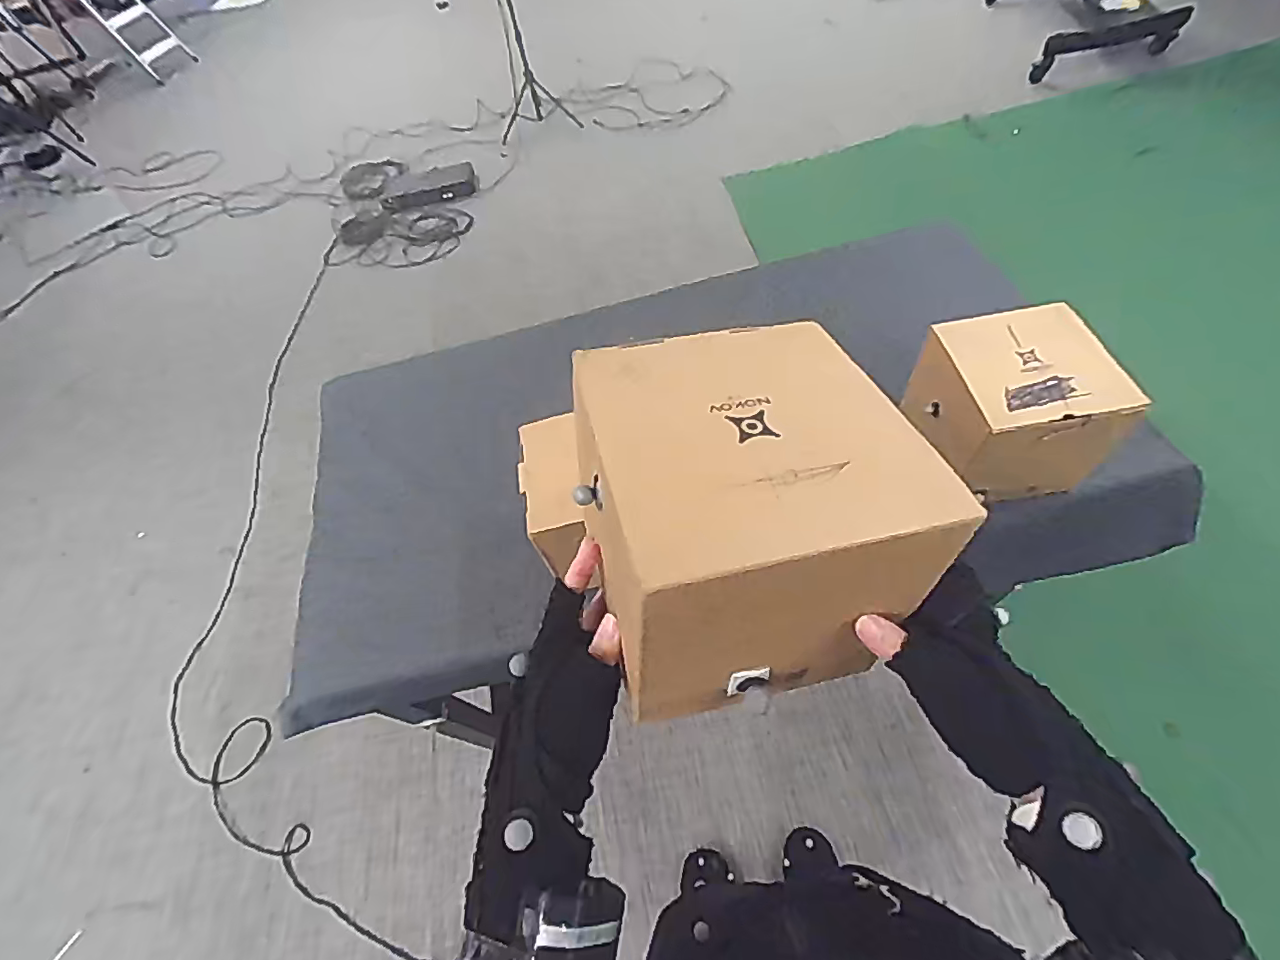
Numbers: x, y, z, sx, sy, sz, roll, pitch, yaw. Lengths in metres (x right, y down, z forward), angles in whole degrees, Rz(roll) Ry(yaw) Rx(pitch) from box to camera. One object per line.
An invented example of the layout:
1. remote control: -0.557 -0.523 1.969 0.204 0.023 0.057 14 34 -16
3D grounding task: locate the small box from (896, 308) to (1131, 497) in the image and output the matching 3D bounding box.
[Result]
1. small box: 0.460 -0.090 0.703 0.168 0.176 0.179 -8 55 4

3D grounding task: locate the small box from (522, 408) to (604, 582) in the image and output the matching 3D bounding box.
1. small box: -0.043 0.018 0.714 0.179 0.176 0.168 -13 55 1

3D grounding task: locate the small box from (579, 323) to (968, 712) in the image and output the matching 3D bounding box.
1. small box: 0.057 0.023 0.358 0.168 0.176 0.179 -11 49 -10
